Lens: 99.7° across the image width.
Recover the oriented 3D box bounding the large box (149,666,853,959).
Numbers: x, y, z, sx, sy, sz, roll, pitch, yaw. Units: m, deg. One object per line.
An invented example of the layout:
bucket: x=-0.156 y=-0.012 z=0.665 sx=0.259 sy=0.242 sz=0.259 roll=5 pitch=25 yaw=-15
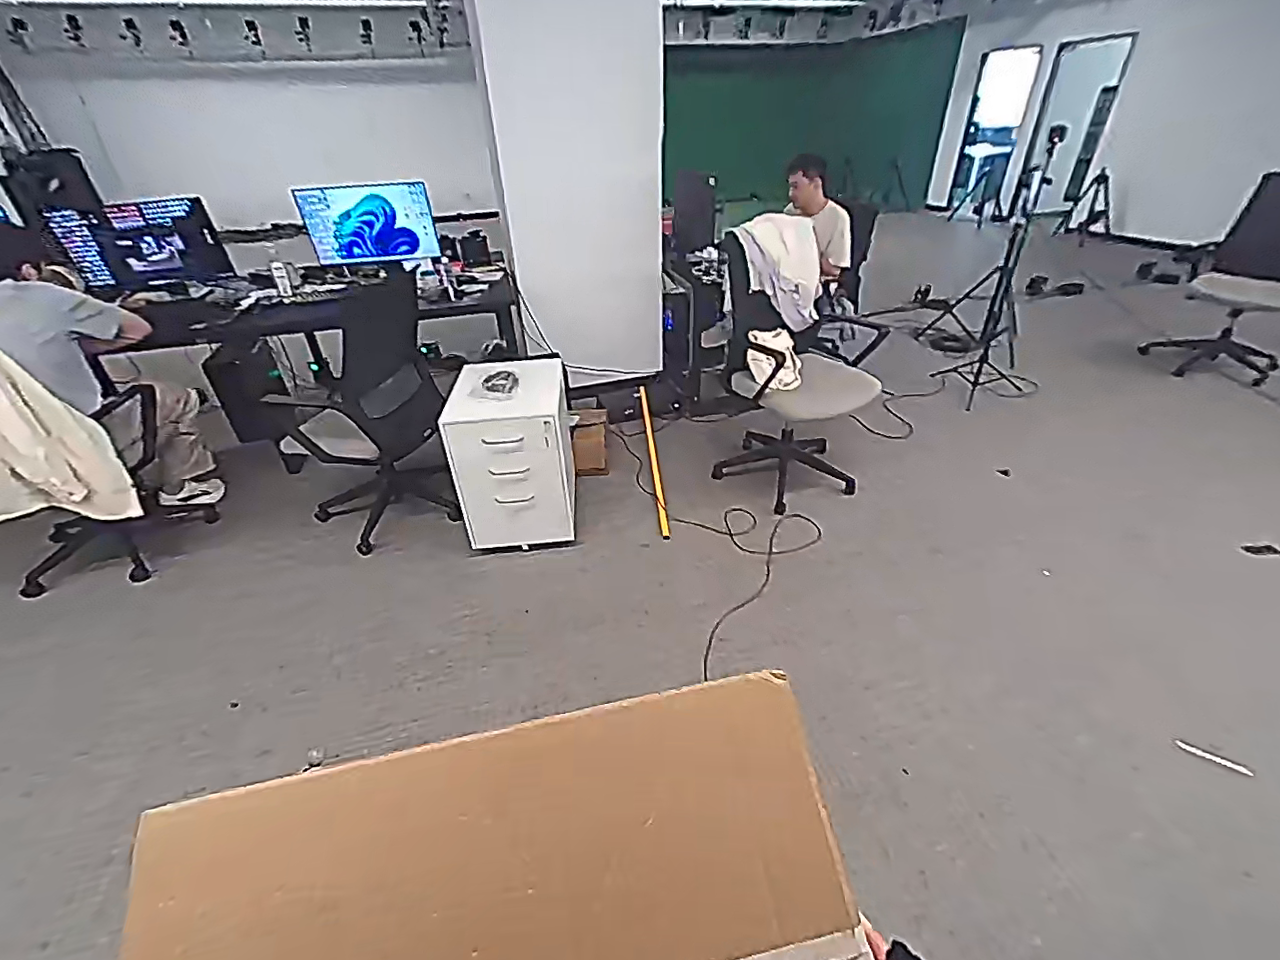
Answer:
large box: x=-0.077 y=0.366 z=0.437 sx=0.408 sy=0.320 sz=0.320 roll=-10 pitch=68 yaw=-7
